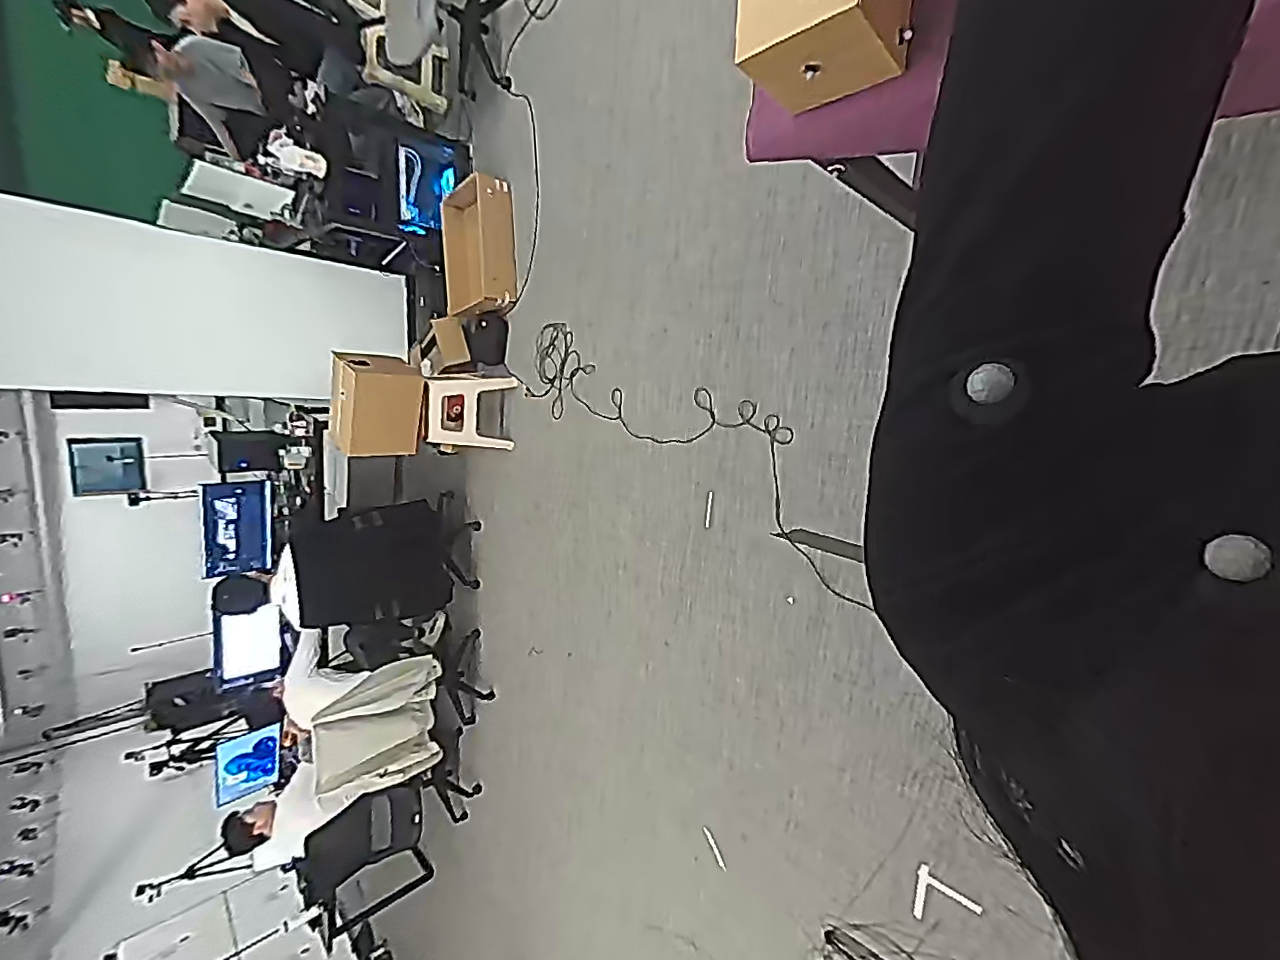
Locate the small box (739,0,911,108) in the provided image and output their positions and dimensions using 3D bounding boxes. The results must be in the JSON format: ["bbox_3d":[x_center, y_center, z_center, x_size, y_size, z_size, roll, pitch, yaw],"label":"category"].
[{"bbox_3d":[0.256,-0.650,0.731,0.179,0.176,0.168,8,99,44],"label":"small box"}]
